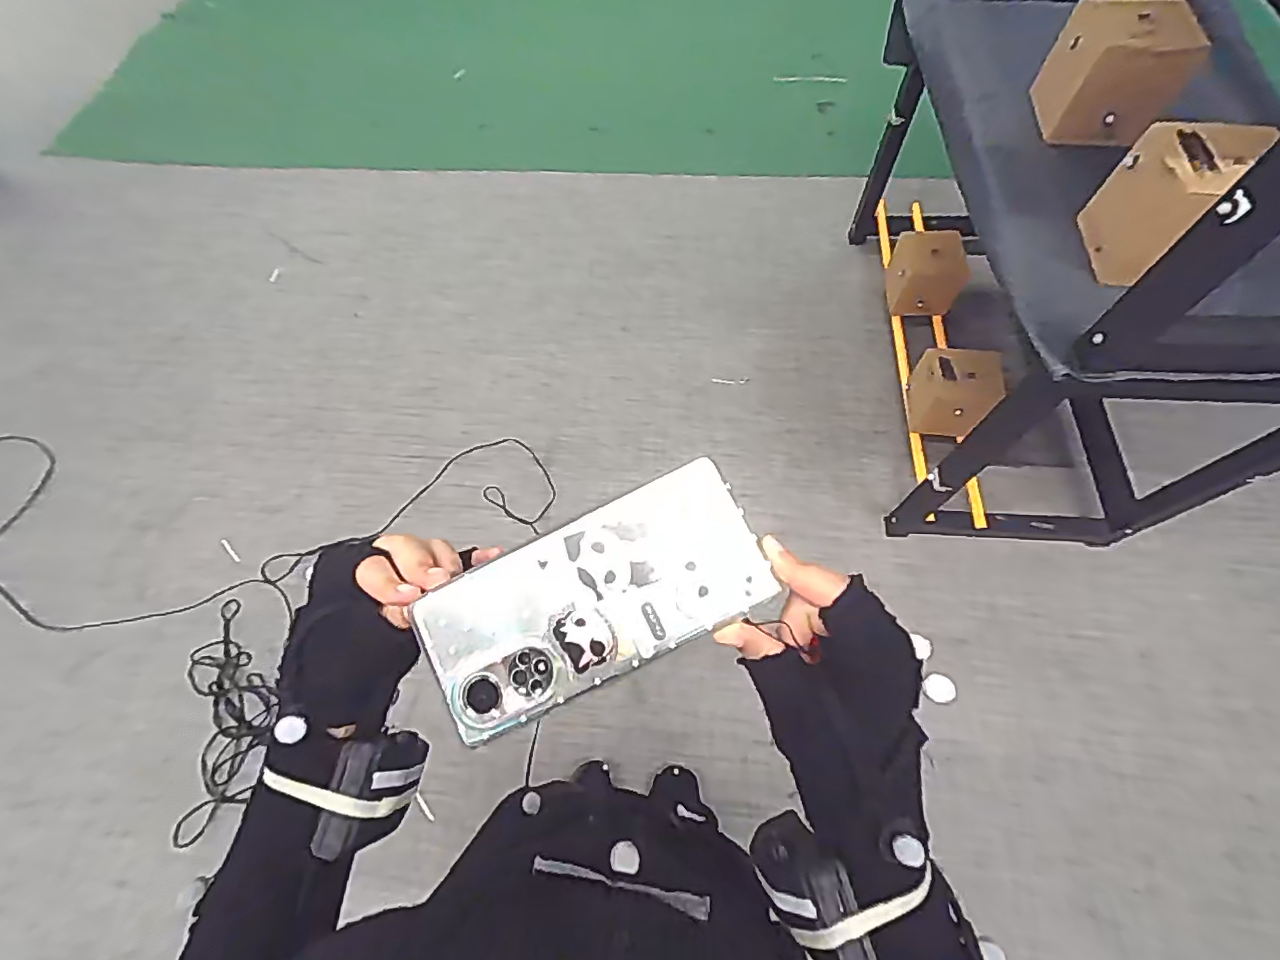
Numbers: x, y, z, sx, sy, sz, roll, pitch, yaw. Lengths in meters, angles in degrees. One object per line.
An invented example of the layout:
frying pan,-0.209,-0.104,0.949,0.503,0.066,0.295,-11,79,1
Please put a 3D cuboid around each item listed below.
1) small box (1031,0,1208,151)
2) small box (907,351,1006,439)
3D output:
small box,0.873,-0.752,1.009,0.168,0.176,0.179,6,64,6
small box,0.832,-0.222,1.445,0.179,0.176,0.168,6,64,6
